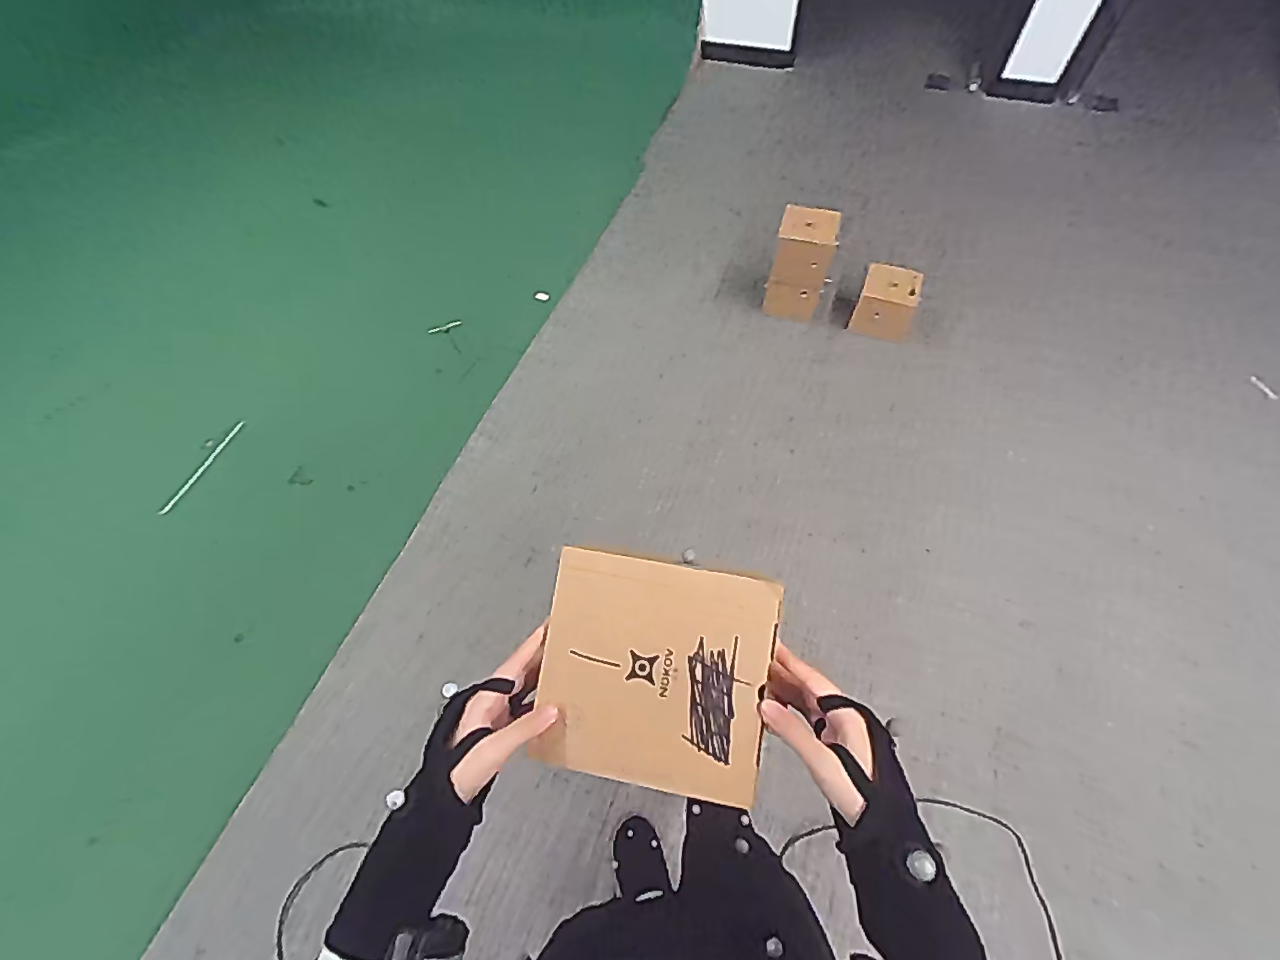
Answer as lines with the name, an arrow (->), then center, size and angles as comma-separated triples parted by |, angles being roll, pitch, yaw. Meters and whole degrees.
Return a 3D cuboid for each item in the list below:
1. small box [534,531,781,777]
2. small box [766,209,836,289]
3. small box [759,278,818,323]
small box -> 0.023, 0.144, 0.505 | 0.179, 0.176, 0.168 | 8, 83, 9
small box -> 0.524, -0.752, 1.773 | 0.179, 0.176, 0.168 | 14, 63, 12
small box -> 0.534, -0.683, 1.921 | 0.179, 0.176, 0.168 | 14, 63, 12
